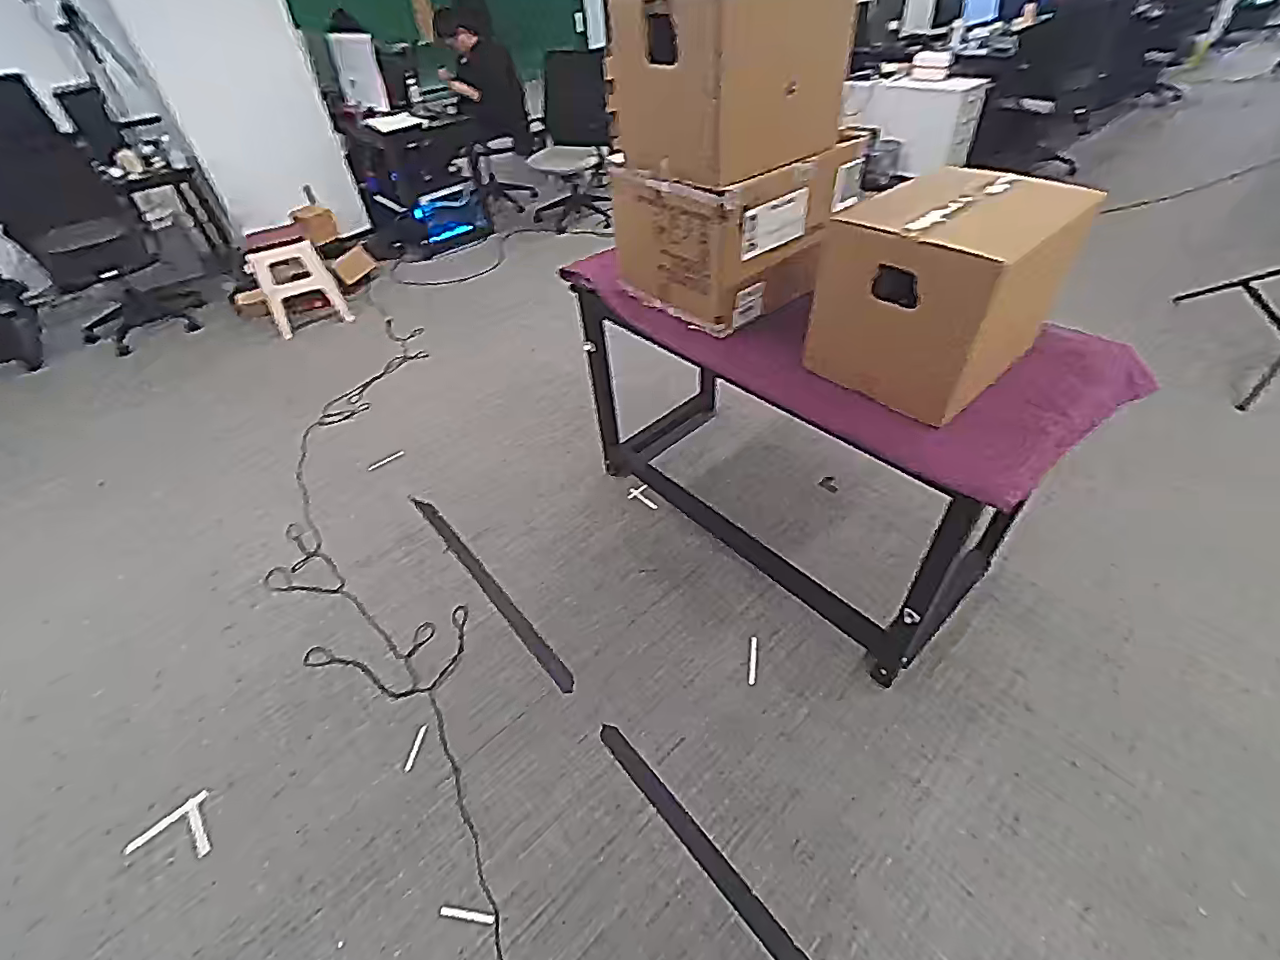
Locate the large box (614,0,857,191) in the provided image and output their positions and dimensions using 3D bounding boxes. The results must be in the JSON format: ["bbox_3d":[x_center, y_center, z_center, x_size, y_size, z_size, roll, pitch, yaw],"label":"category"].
[{"bbox_3d":[0.204,-0.859,1.157,0.408,0.320,0.320,-34,49,-26],"label":"large box"}]
